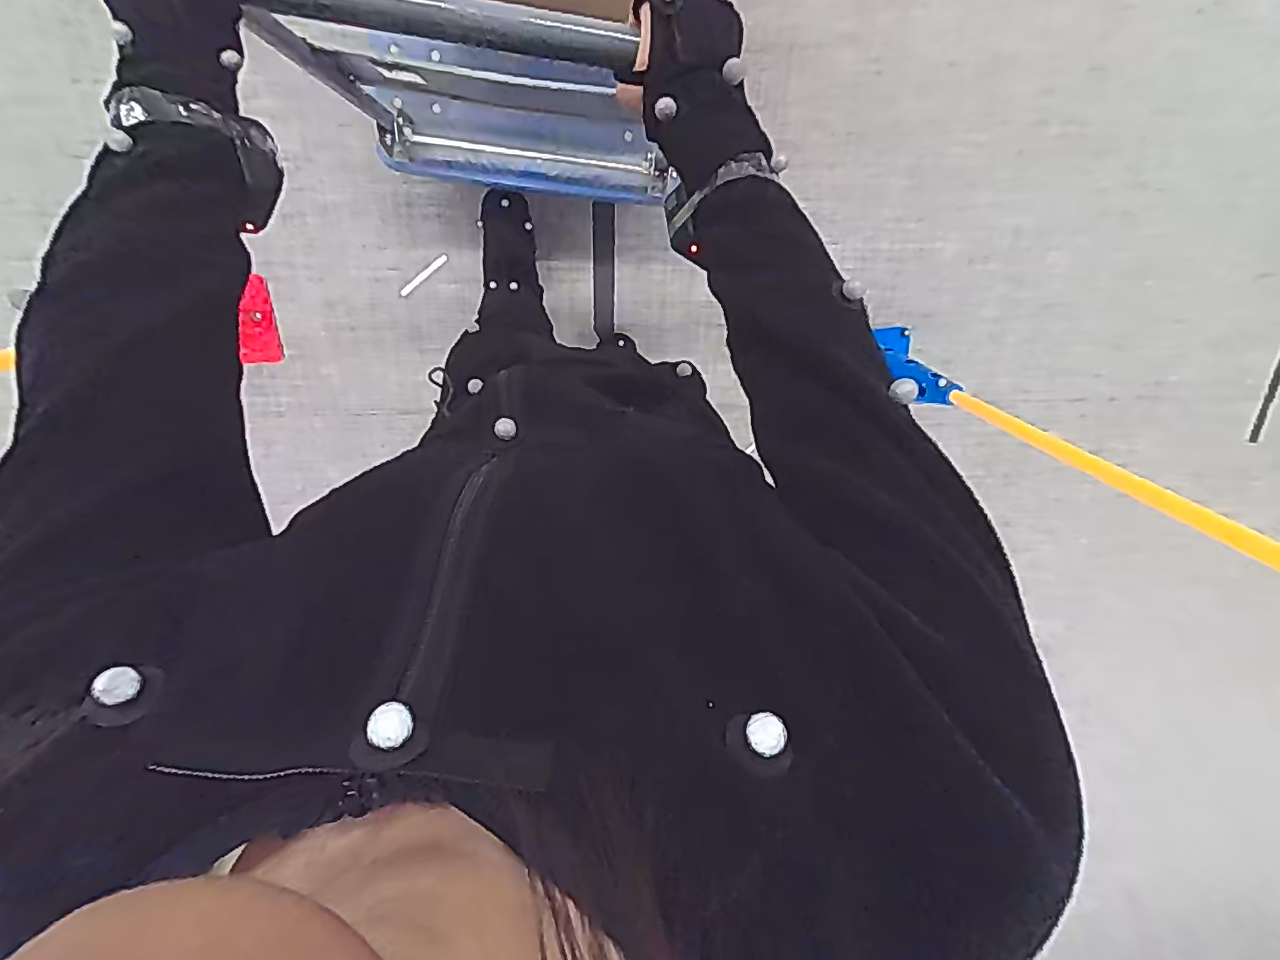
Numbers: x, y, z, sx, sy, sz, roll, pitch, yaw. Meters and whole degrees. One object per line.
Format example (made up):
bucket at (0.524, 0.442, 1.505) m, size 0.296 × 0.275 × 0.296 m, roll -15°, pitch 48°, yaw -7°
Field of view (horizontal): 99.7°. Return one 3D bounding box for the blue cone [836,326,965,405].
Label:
blue cone at (0.609, -0.239, 1.237) m, size 0.193 × 0.380 × 0.192 m, roll -5°, pitch 109°, yaw -3°
